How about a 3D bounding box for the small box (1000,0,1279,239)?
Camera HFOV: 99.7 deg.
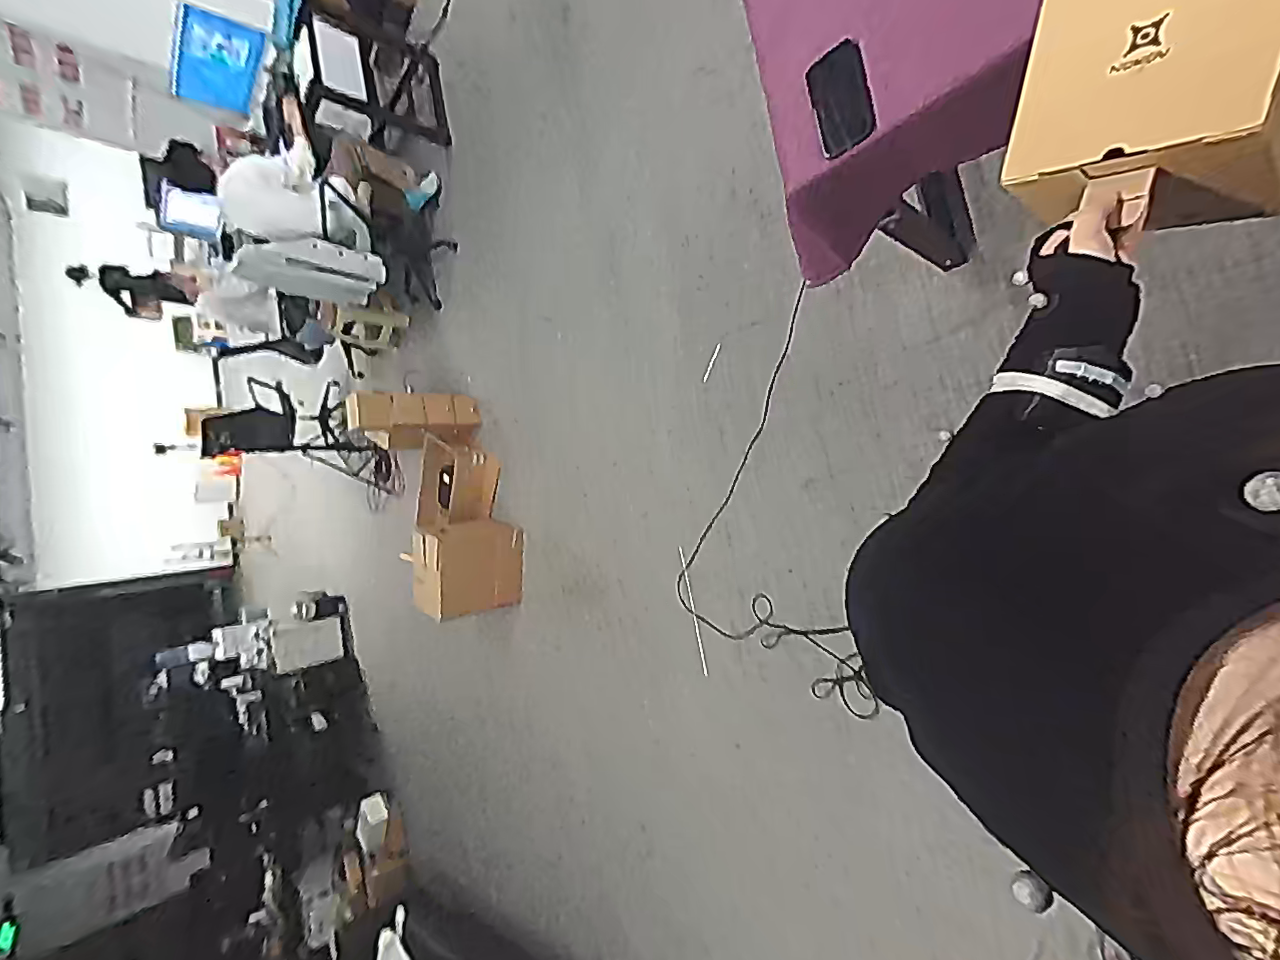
[{"bbox_3d":[0.460,-0.338,0.478,0.168,0.176,0.179,19,103,53],"label":"small box"}]
